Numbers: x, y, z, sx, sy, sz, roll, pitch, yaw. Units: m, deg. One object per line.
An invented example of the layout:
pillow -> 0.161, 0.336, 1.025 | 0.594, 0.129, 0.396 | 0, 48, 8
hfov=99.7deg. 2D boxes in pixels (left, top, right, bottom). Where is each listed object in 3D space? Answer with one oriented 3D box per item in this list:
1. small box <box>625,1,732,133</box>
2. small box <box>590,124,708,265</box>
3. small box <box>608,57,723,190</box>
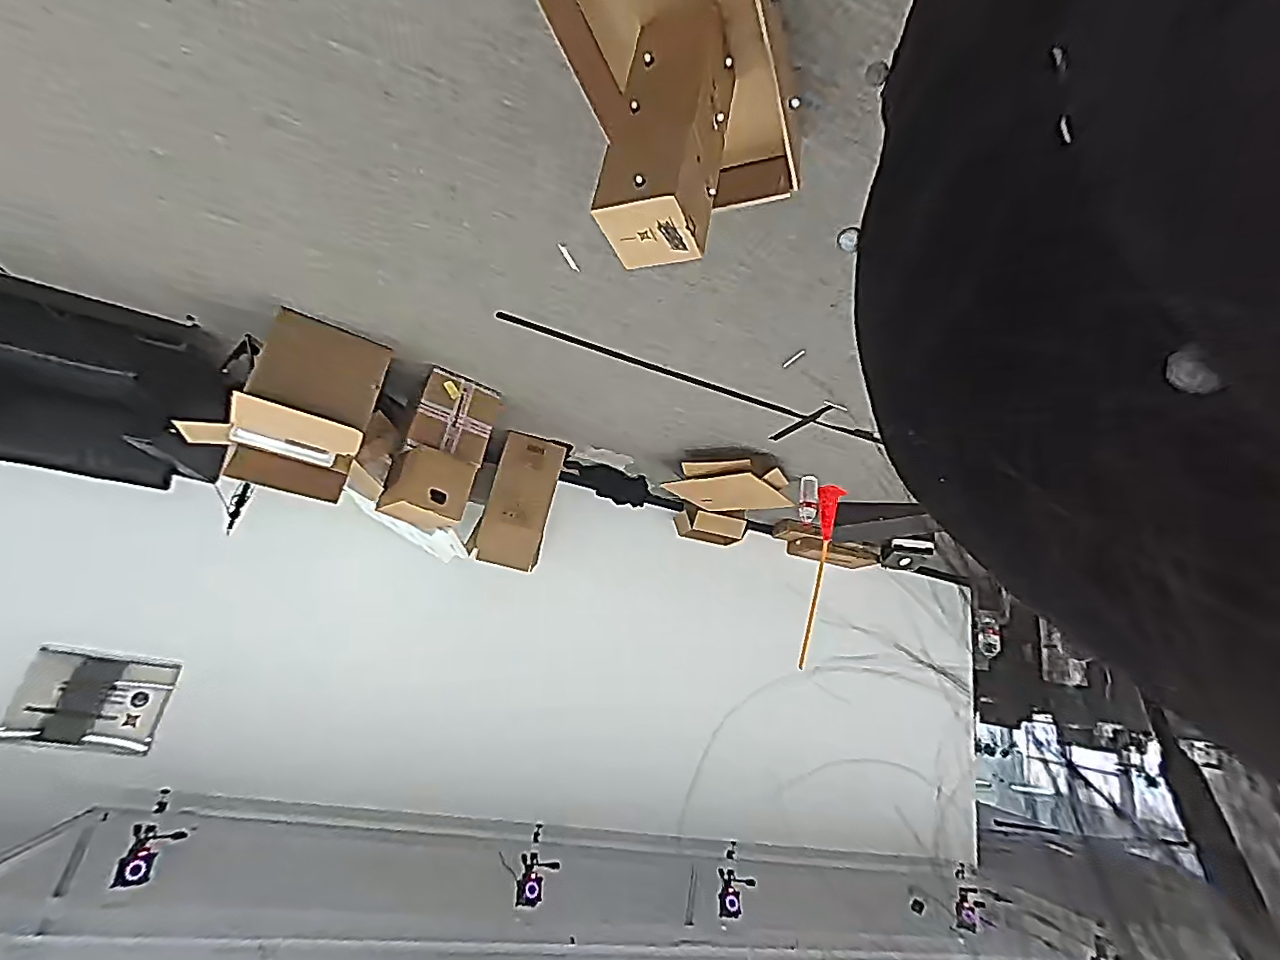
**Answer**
small box -> 0.089, -0.861, 1.156 | 0.179, 0.176, 0.168 | 2, 161, 23
small box -> 0.026, -0.555, 1.060 | 0.179, 0.176, 0.168 | 3, 161, 26
small box -> 0.059, -0.710, 1.106 | 0.179, 0.176, 0.168 | 1, 161, 24
